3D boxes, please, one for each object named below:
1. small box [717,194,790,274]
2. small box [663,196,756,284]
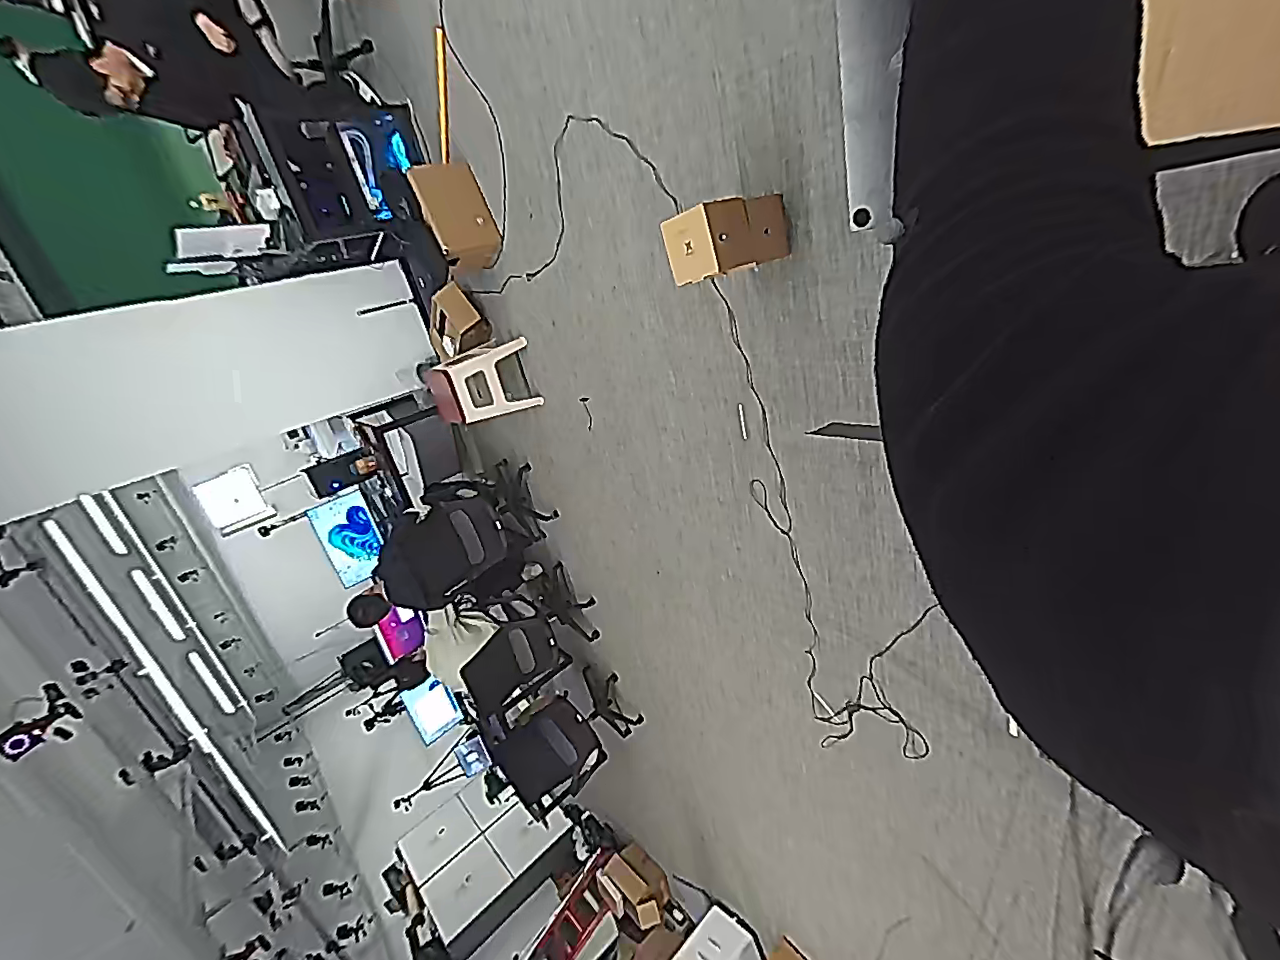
[{"bbox_3d":[0.316,-0.720,1.582,0.168,0.176,0.179,8,121,50],"label":"small box"},{"bbox_3d":[0.196,-0.660,1.489,0.168,0.176,0.179,4,116,51],"label":"small box"}]
